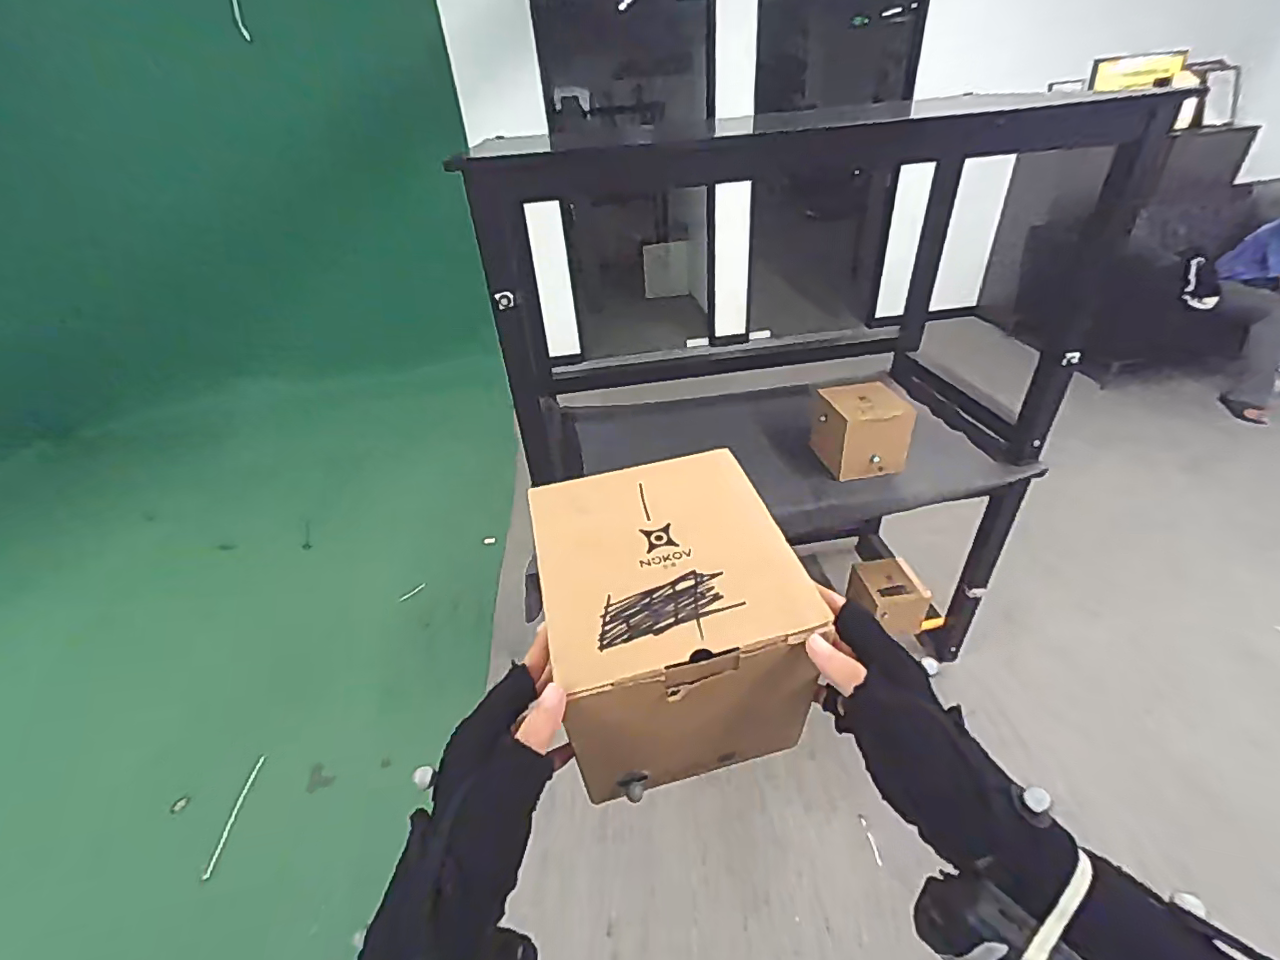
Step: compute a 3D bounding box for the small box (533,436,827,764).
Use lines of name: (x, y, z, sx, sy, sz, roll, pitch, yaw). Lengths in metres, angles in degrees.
small box: (0.020, 0.095, 0.422, 0.168, 0.176, 0.179, -12, 41, -9)

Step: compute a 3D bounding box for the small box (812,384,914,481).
small box: (0.539, -0.119, 1.336, 0.168, 0.176, 0.179, -9, 34, -4)
